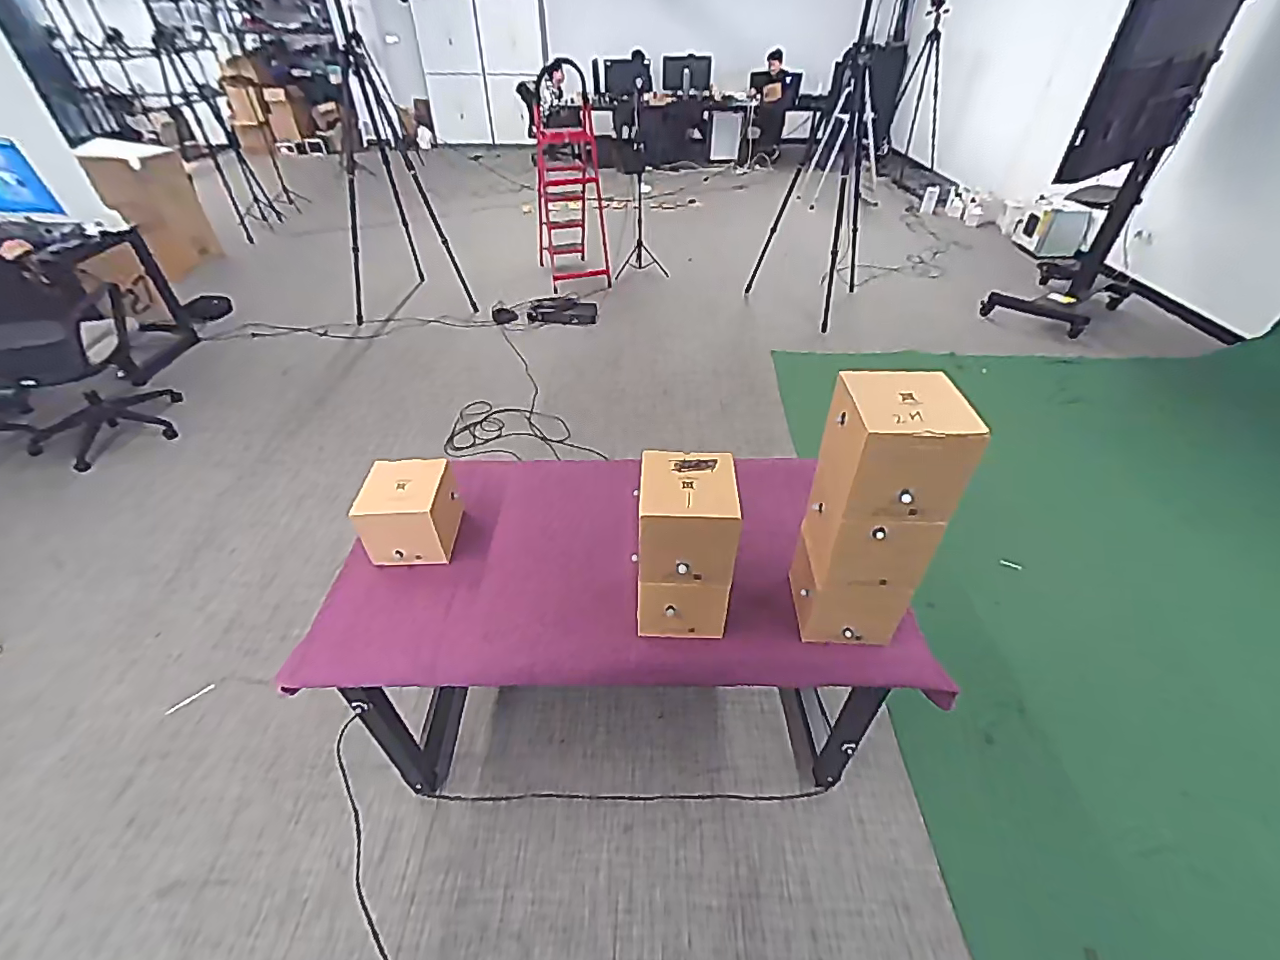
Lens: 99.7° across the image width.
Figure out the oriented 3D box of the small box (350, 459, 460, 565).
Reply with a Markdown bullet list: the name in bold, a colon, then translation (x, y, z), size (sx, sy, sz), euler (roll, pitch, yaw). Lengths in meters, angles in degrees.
- **small box**: translation (-0.514, 0.072, 1.216), size (0.168, 0.176, 0.179), euler (-2, 42, -2)

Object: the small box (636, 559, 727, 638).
- **small box**: translation (0.080, 0.195, 1.074), size (0.168, 0.176, 0.179), euler (1, 39, 2)

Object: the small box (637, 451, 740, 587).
- **small box**: translation (0.081, 0.068, 0.971), size (0.168, 0.176, 0.179), euler (1, 40, 3)

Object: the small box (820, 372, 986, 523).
- **small box**: translation (0.395, -0.054, 0.853), size (0.168, 0.176, 0.179), euler (1, 41, 3)

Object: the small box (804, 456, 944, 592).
- **small box**: translation (0.398, 0.075, 0.956), size (0.168, 0.176, 0.179), euler (1, 40, 4)
